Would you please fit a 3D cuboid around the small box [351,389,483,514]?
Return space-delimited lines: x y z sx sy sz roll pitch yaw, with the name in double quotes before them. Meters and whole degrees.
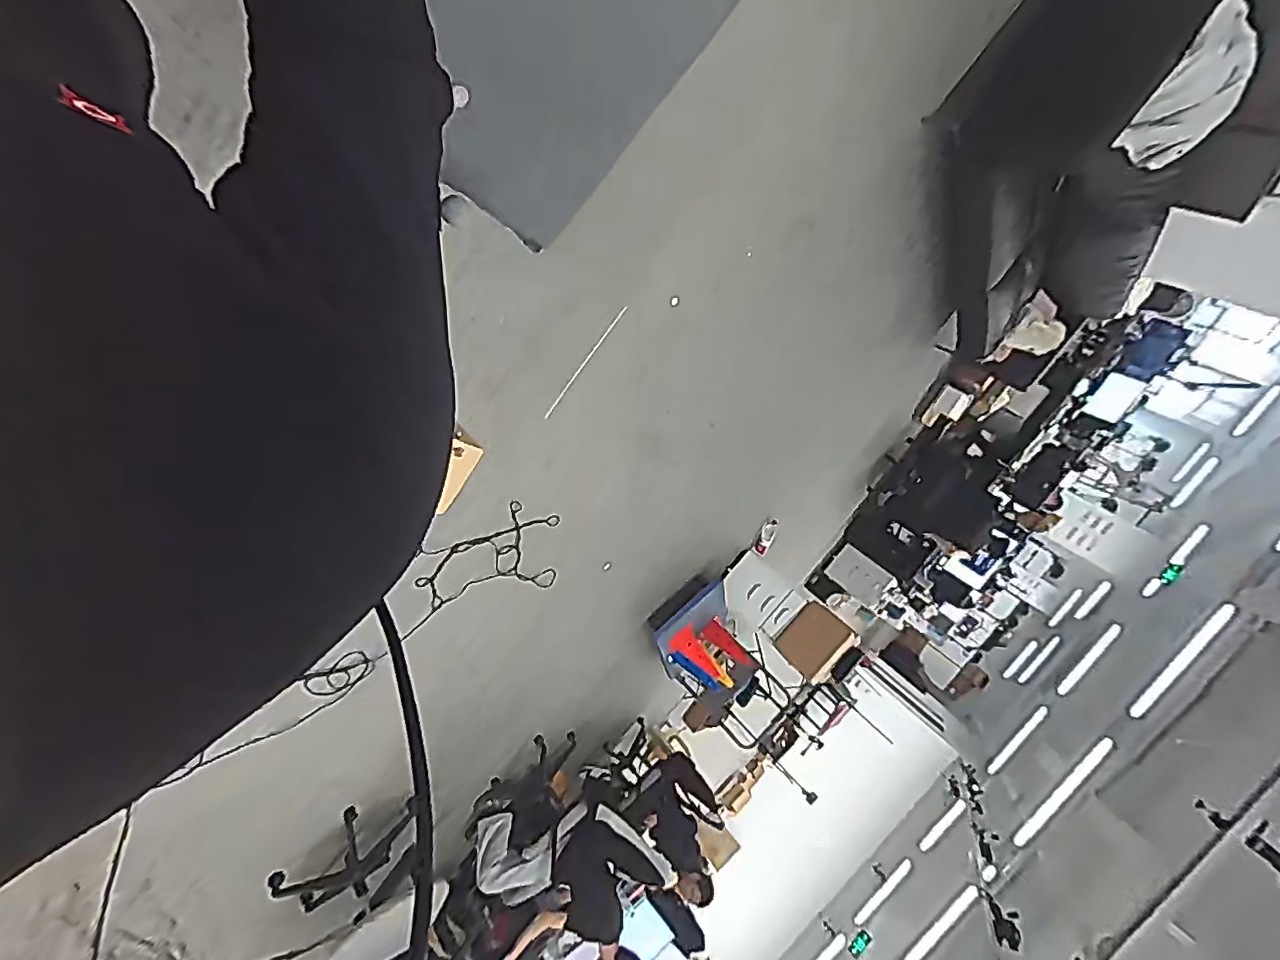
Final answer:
"small box" -0.472 -0.058 1.131 0.179 0.176 0.168 -54 148 8
